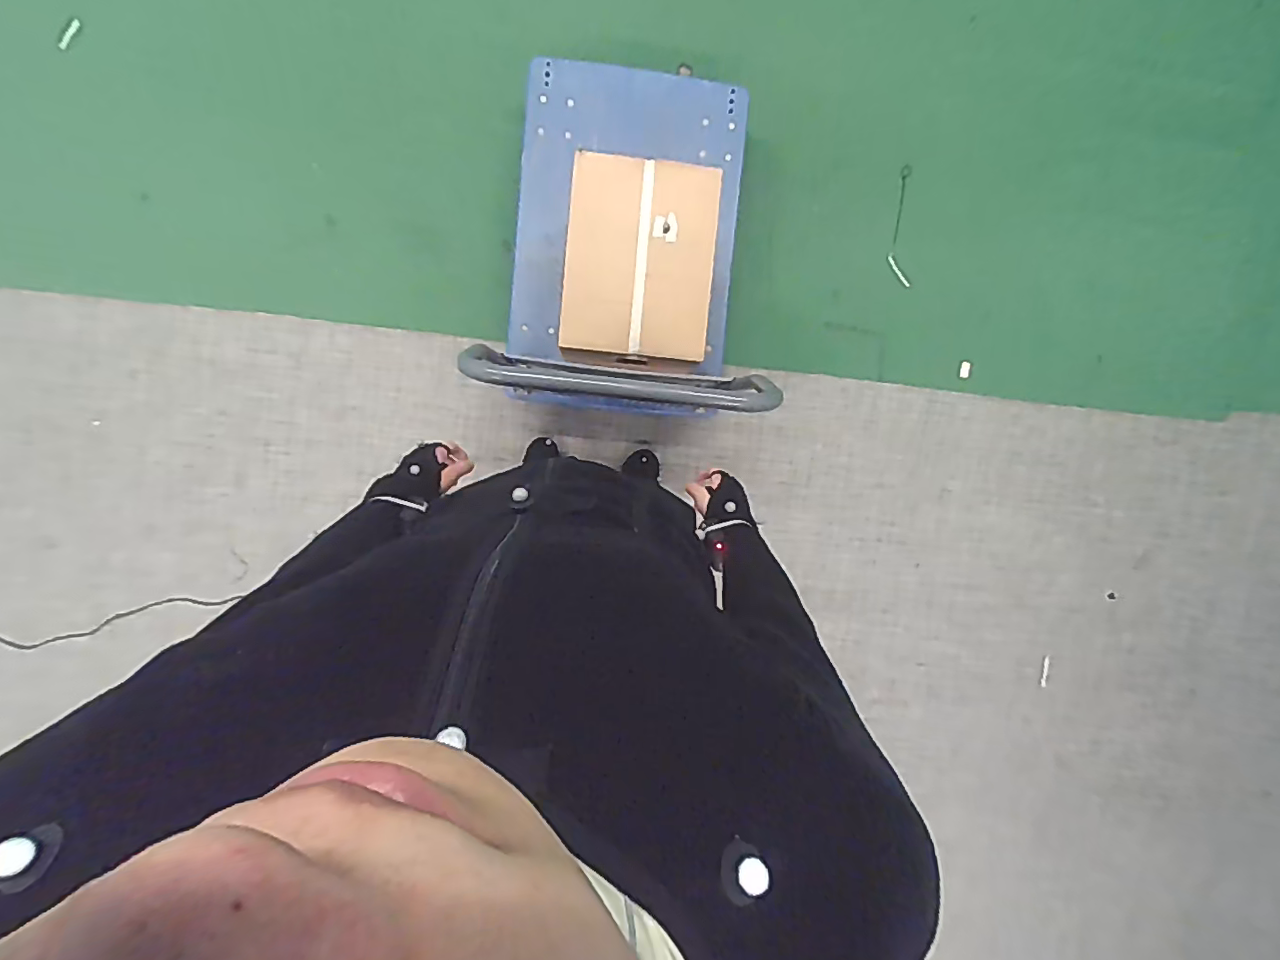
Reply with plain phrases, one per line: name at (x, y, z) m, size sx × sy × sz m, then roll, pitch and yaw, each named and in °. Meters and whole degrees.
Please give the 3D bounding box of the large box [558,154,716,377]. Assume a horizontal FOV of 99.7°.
large box at (-0.015, -0.472, 1.285) m, size 0.320 × 0.320 × 0.408 m, roll 5°, pitch 92°, yaw -5°
